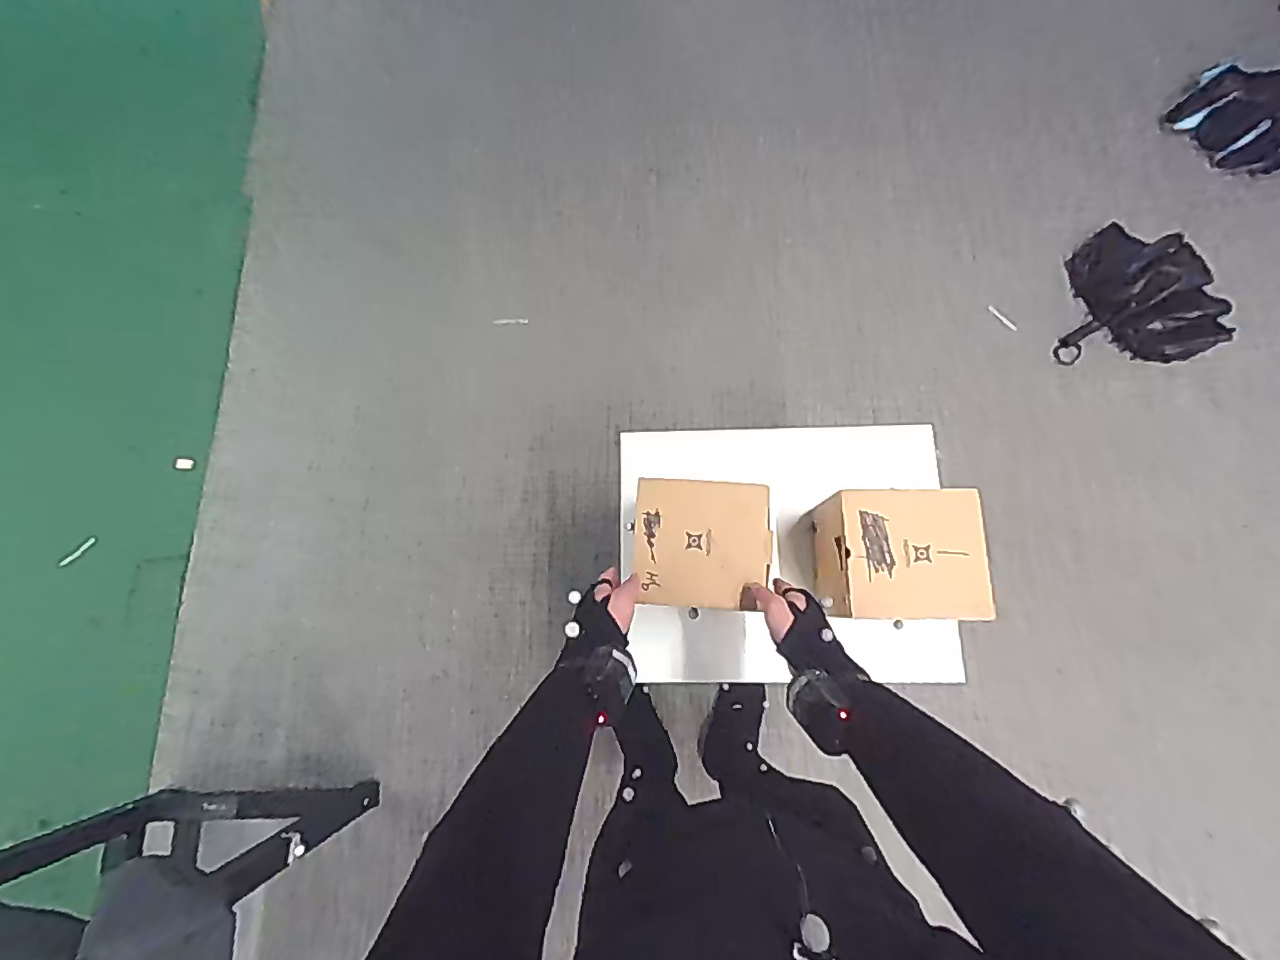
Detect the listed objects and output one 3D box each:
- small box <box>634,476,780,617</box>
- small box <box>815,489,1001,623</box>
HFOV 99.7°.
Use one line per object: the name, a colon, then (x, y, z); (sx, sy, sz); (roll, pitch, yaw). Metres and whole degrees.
small box: (0.086, 0.099, 0.755); (0.179, 0.176, 0.168); (4, 76, 0)
small box: (0.350, 0.111, 0.747); (0.179, 0.176, 0.168); (0, 76, 0)
